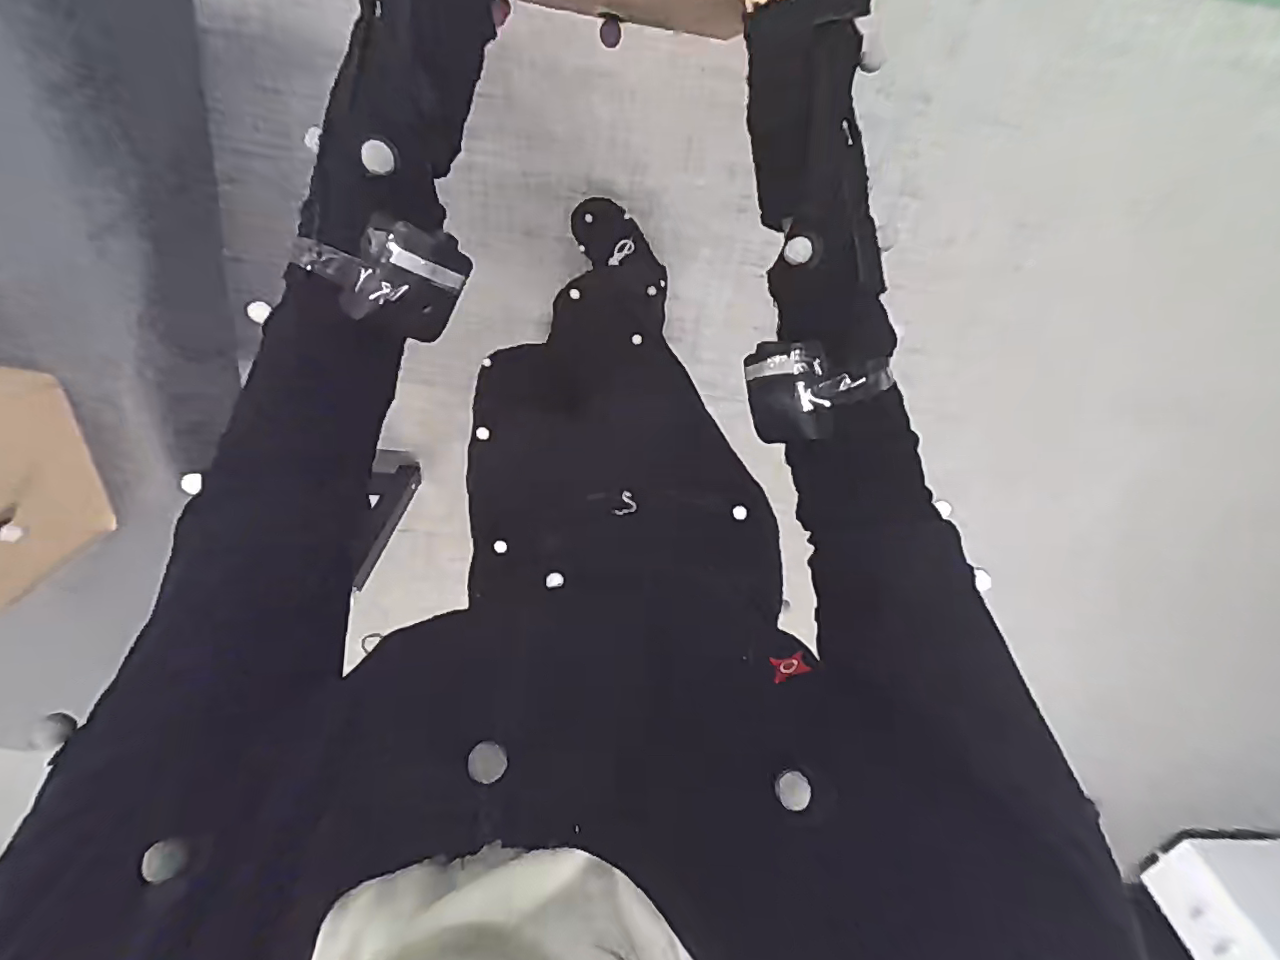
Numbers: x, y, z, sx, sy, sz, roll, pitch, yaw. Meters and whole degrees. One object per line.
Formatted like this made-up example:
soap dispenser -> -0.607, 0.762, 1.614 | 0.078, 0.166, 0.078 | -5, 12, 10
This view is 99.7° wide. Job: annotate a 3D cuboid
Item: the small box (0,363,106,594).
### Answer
small box -> -0.618, 0.005, 0.452 | 0.168, 0.176, 0.179 | 9, 123, -6
